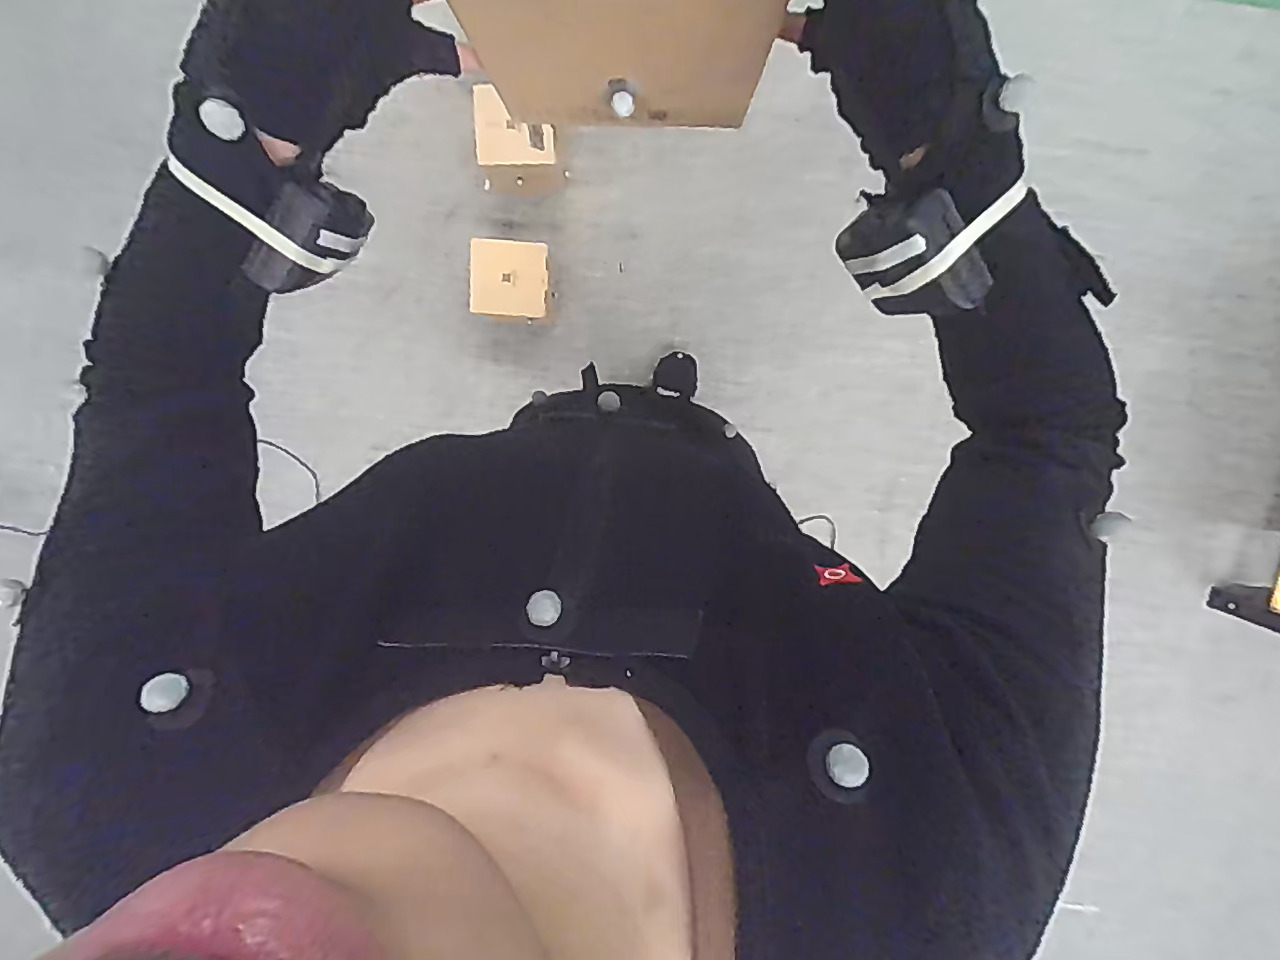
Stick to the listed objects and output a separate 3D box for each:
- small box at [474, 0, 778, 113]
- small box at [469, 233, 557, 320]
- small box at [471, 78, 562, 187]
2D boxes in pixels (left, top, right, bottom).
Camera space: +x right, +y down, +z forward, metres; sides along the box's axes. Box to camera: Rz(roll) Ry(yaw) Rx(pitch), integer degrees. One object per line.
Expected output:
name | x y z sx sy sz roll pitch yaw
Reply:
small box | -0.009 -0.329 0.281 0.168 0.176 0.179 2 101 1
small box | -0.302 -0.484 1.306 0.179 0.176 0.168 3 100 -2
small box | -0.276 -0.797 1.253 0.179 0.176 0.168 -1 99 1
